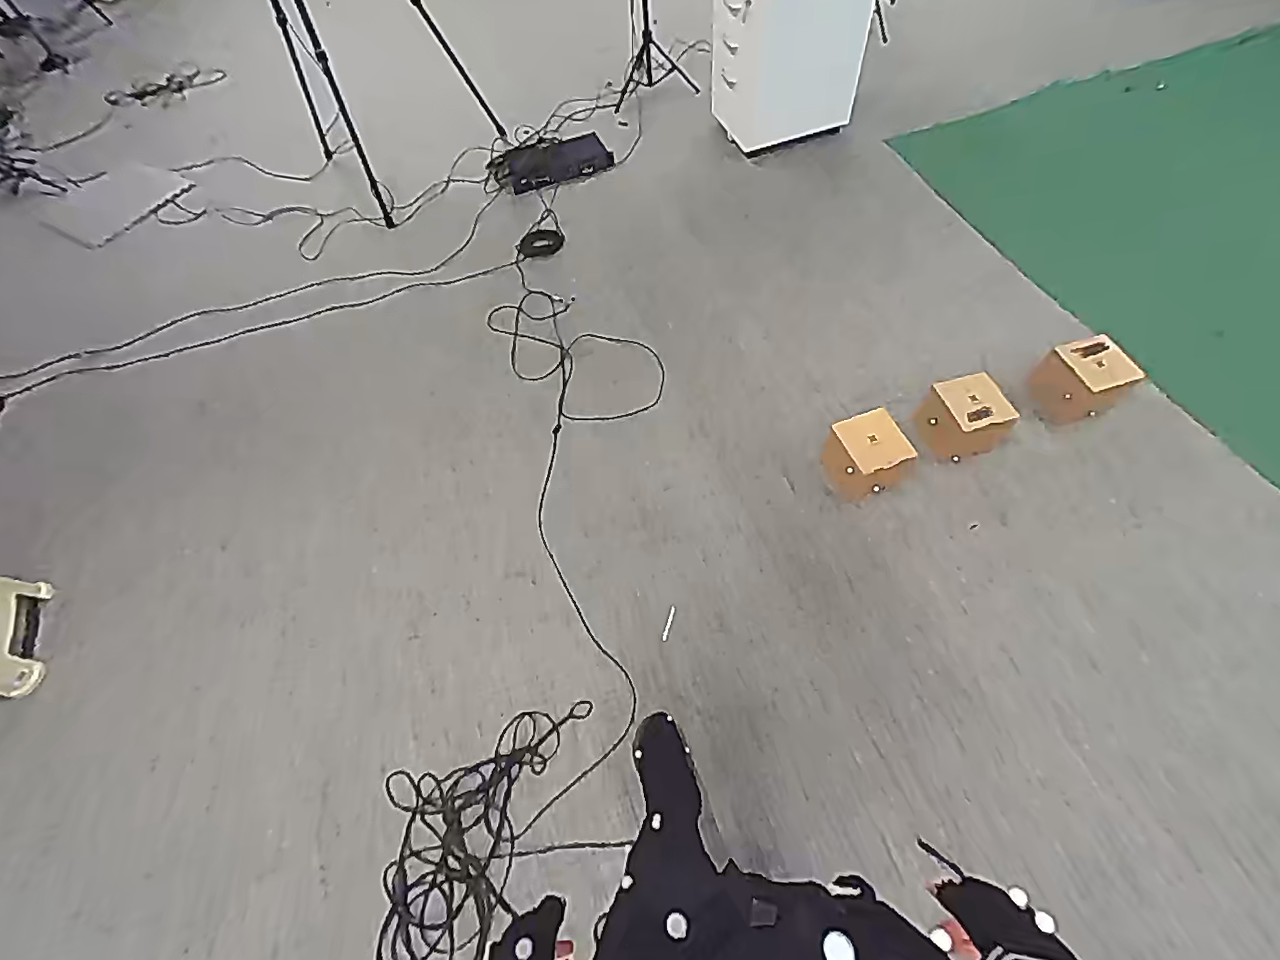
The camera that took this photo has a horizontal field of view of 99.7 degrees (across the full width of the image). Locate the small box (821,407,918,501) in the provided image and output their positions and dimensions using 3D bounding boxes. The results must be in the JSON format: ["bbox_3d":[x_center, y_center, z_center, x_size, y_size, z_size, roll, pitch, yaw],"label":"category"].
[{"bbox_3d":[0.638,-0.071,1.532,0.168,0.176,0.179,-20,60,-5],"label":"small box"}]

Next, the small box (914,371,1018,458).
[{"bbox_3d":[0.932,-0.181,1.564,0.168,0.176,0.179,-14,59,-3],"label":"small box"}]
